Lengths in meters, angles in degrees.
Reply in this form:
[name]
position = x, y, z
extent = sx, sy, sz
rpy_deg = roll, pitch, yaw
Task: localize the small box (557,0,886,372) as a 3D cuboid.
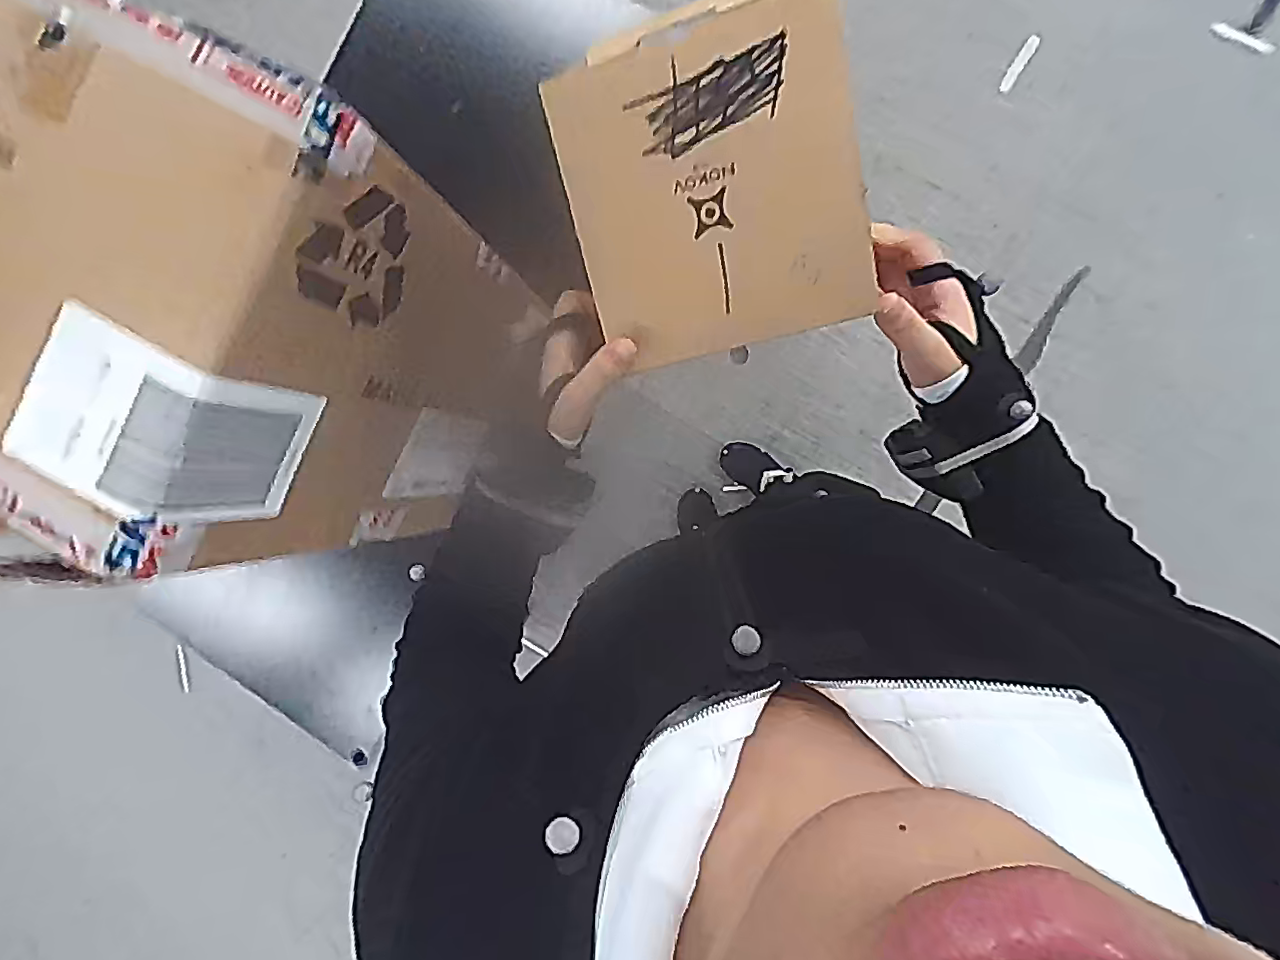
[small box]
position = 0.062, -0.185, 0.388
extent = 0.168, 0.176, 0.179
rpy_deg = -10, 104, 16
